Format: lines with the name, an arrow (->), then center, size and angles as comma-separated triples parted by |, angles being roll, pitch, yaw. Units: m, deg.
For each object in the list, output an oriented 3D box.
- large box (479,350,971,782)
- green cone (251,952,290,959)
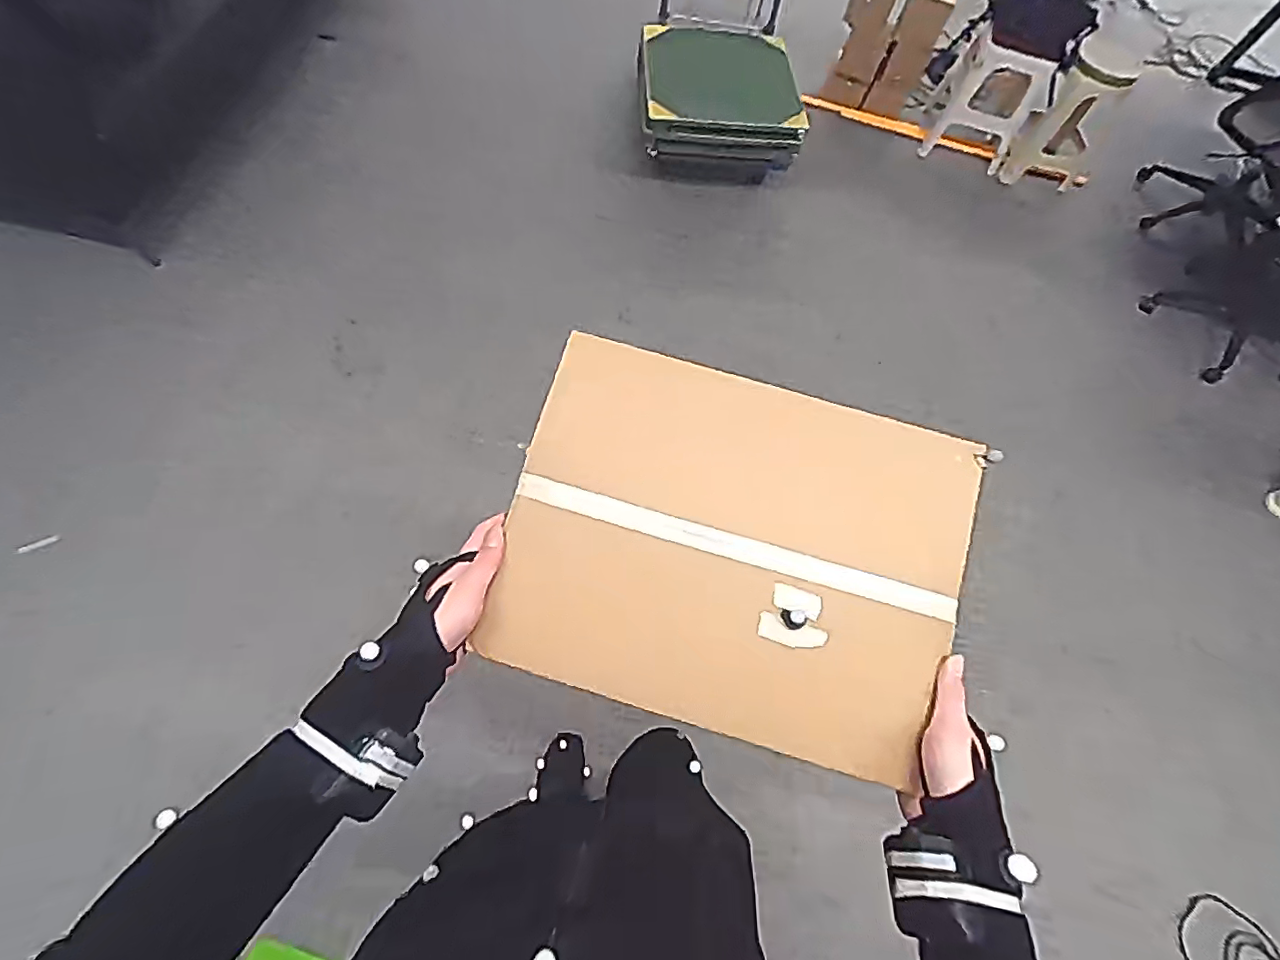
large box -> 0.083, 0.092, 0.640 | 0.408, 0.320, 0.320 | 16, 81, 2
green cone -> -0.750, 1.061, 0.969 | 0.200, 0.368, 0.202 | 17, 67, 2
